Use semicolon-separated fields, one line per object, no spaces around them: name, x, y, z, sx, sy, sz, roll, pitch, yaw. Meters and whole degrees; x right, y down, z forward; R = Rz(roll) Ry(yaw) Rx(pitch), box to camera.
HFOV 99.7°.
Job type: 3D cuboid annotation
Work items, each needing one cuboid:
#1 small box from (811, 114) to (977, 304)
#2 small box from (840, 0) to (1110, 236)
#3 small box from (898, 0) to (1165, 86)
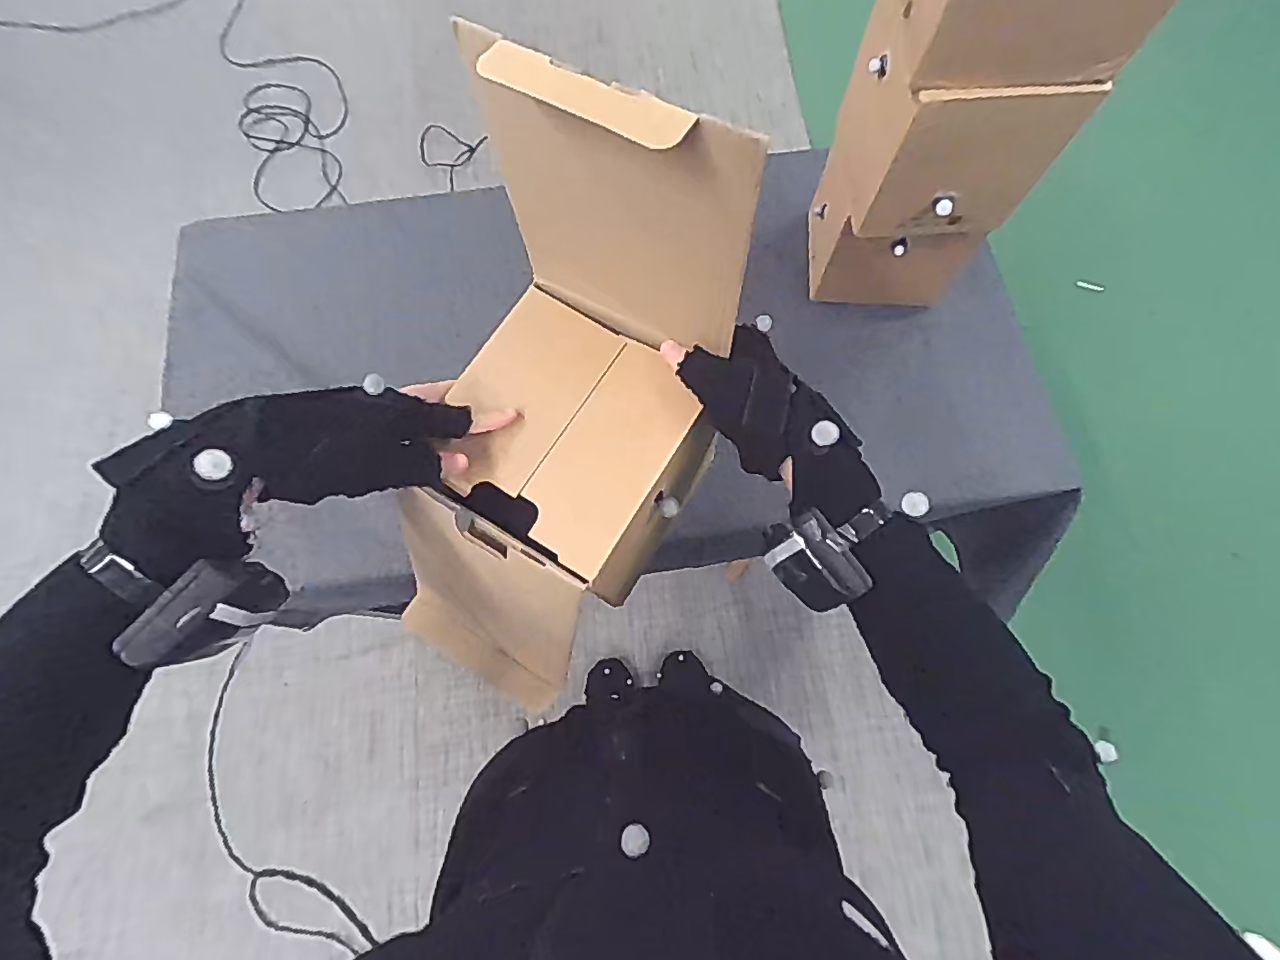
small box;0.335;-0.355;0.726;0.179;0.176;0.168;4;73;3
small box;0.322;-0.386;0.565;0.168;0.176;0.179;-2;74;2
small box;0.312;-0.436;0.410;0.179;0.176;0.168;0;74;2
